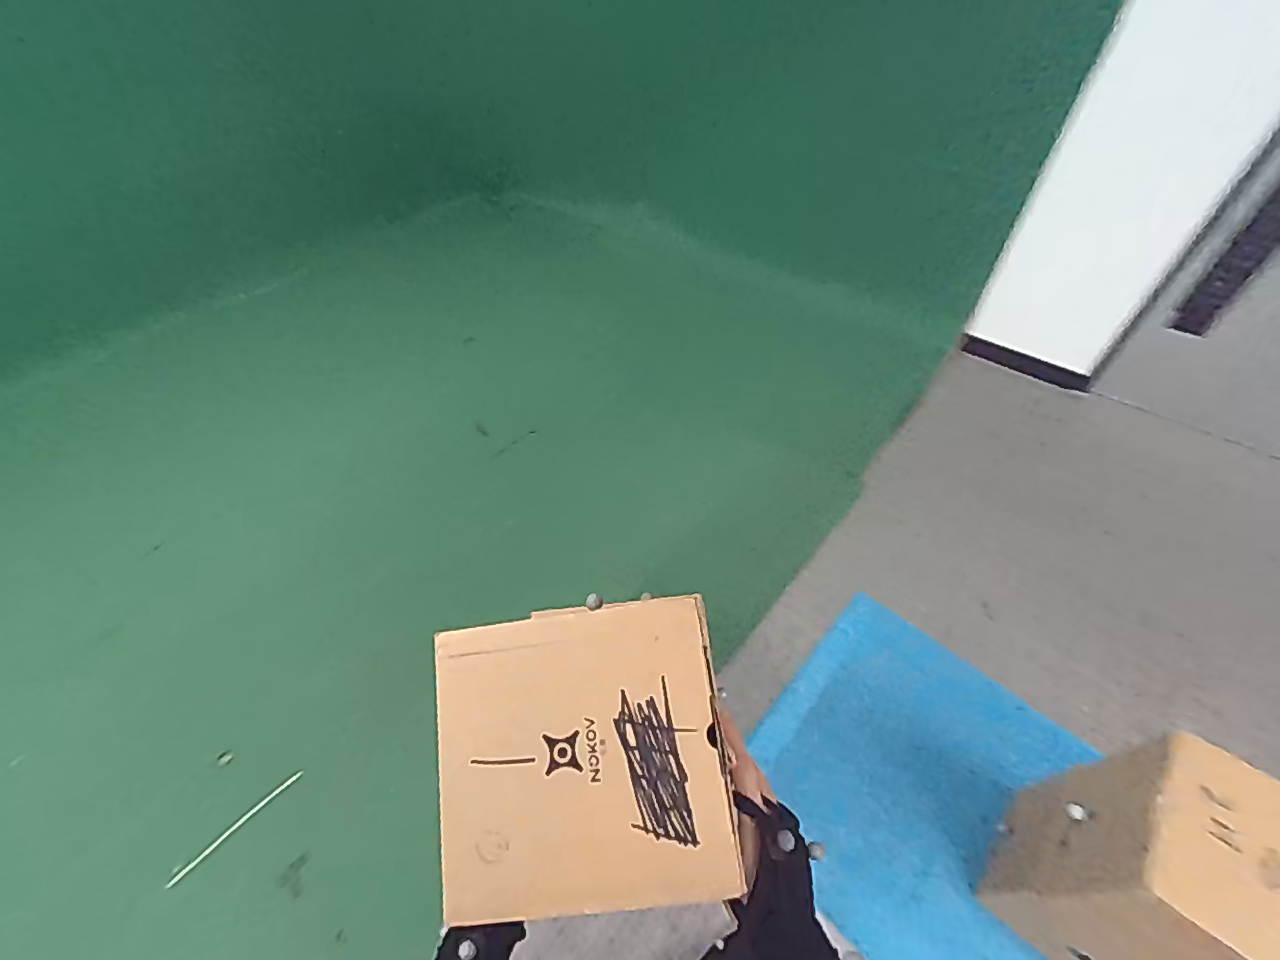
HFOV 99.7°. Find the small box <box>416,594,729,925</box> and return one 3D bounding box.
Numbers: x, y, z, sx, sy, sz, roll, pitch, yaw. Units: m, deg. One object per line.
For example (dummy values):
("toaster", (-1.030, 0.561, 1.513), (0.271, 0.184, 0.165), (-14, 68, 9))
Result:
("small box", (-0.038, 0.178, 0.394), (0.179, 0.176, 0.168), (-9, 74, 5))

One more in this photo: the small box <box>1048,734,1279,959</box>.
("small box", (0.530, 0.376, 0.493), (0.179, 0.176, 0.168), (33, 58, 28))
